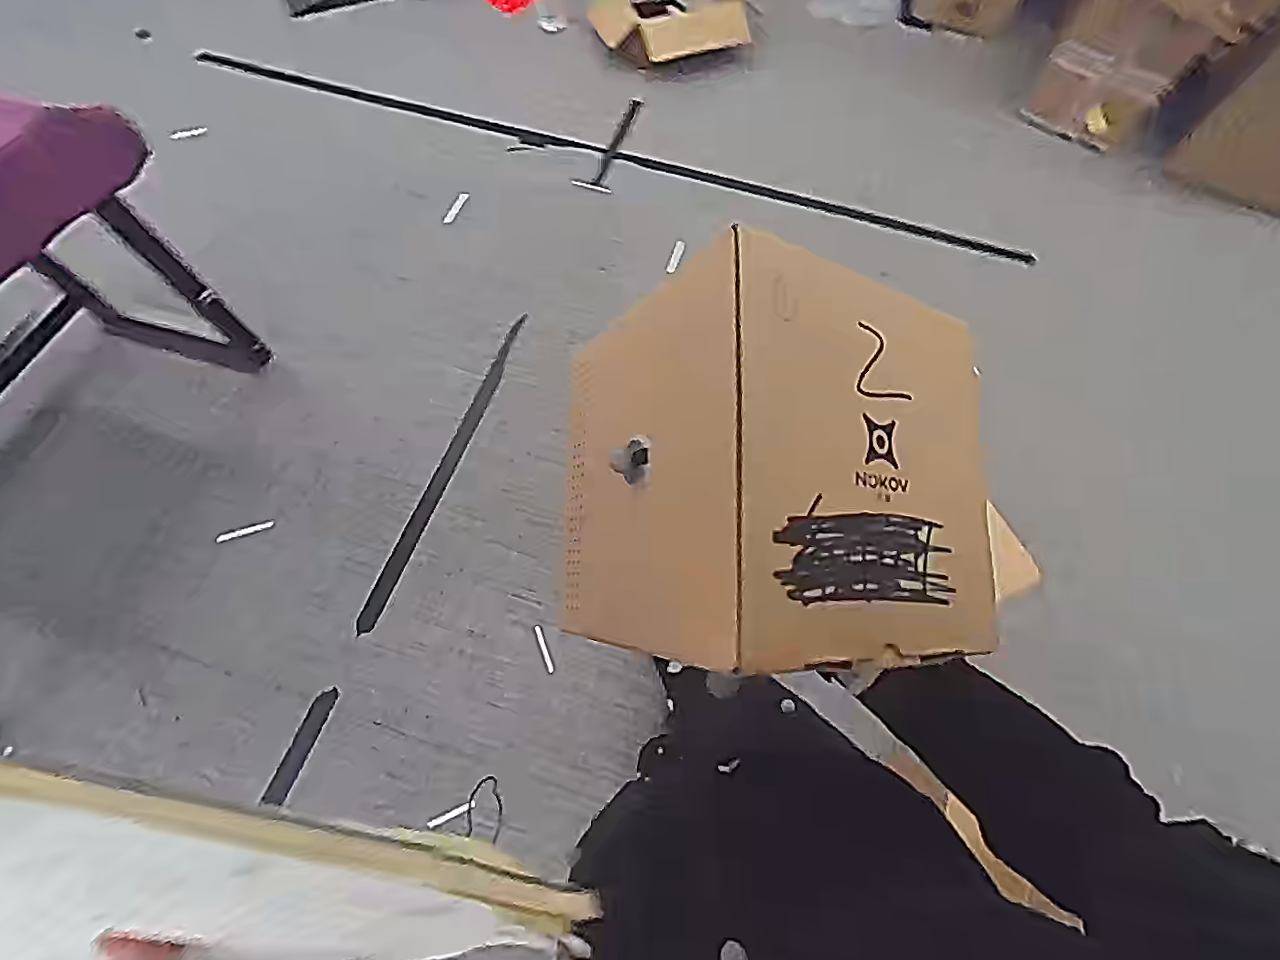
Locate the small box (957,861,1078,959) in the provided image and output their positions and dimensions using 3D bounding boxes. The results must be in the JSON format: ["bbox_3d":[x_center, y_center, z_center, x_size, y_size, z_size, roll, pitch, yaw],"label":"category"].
[{"bbox_3d":[0.627,0.721,0.832,0.179,0.176,0.168,23,68,7],"label":"small box"}]
